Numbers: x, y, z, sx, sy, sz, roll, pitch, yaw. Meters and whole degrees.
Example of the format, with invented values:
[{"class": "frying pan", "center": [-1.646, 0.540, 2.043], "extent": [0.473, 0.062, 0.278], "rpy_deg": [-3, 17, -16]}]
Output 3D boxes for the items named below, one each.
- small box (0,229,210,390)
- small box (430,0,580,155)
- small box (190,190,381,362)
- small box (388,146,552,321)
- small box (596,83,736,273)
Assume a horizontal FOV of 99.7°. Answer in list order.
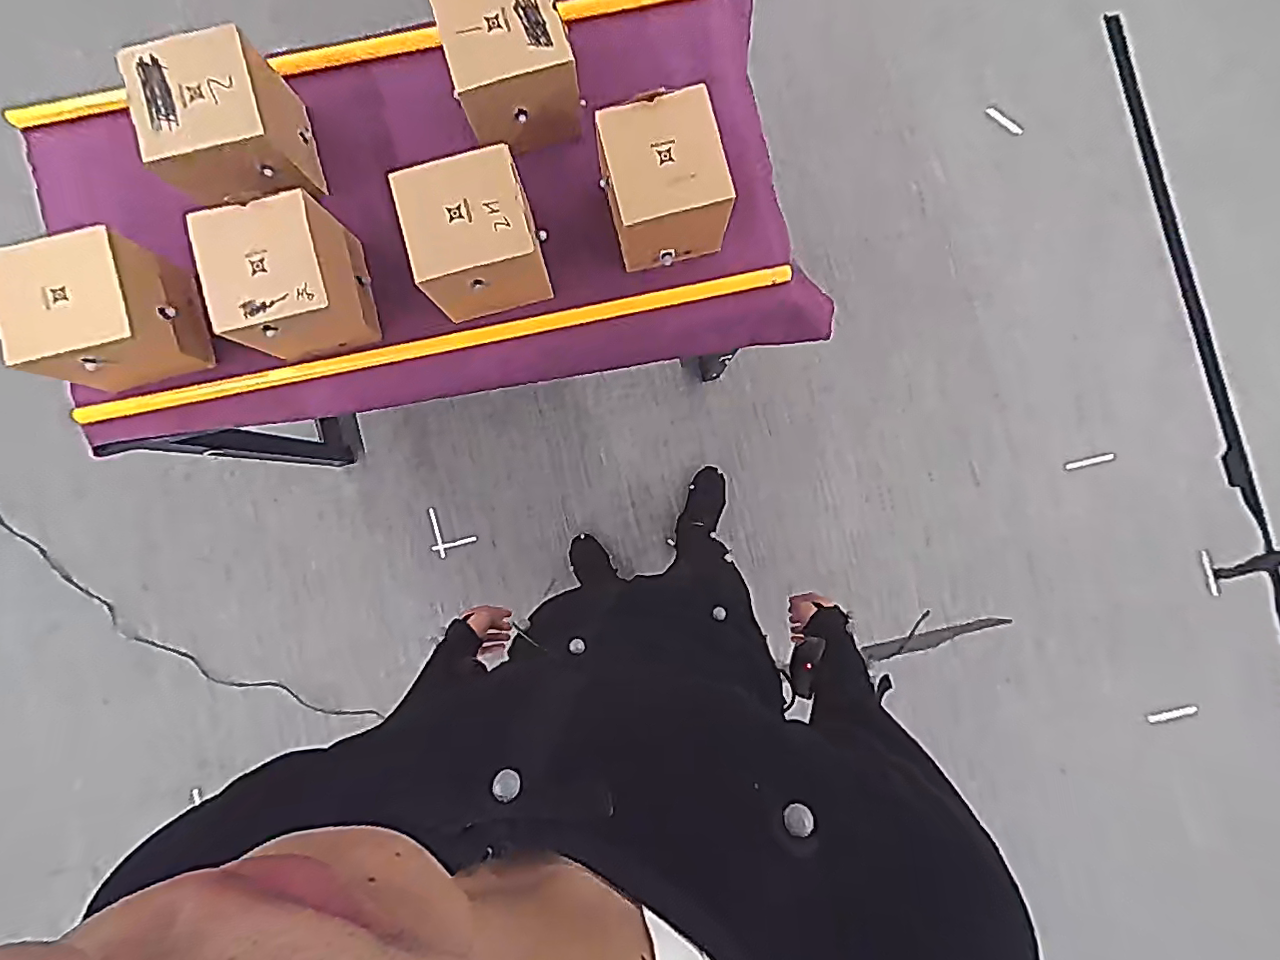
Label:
[{"class": "small box", "center": [-0.805, -0.249, 0.826], "extent": [0.179, 0.176, 0.168], "rpy_deg": [-15, 88, -2]}, {"class": "small box", "center": [-0.198, -0.642, 0.839], "extent": [0.179, 0.176, 0.168], "rpy_deg": [-16, 90, 0]}, {"class": "small box", "center": [-0.528, -0.300, 0.828], "extent": [0.168, 0.176, 0.179], "rpy_deg": [-13, 88, 1]}, {"class": "small box", "center": [-0.250, -0.364, 0.831], "extent": [0.179, 0.176, 0.168], "rpy_deg": [-15, 87, -1]}, {"class": "small box", "center": [0.036, -0.452, 0.833], "extent": [0.168, 0.176, 0.179], "rpy_deg": [-14, 87, 1]}]
